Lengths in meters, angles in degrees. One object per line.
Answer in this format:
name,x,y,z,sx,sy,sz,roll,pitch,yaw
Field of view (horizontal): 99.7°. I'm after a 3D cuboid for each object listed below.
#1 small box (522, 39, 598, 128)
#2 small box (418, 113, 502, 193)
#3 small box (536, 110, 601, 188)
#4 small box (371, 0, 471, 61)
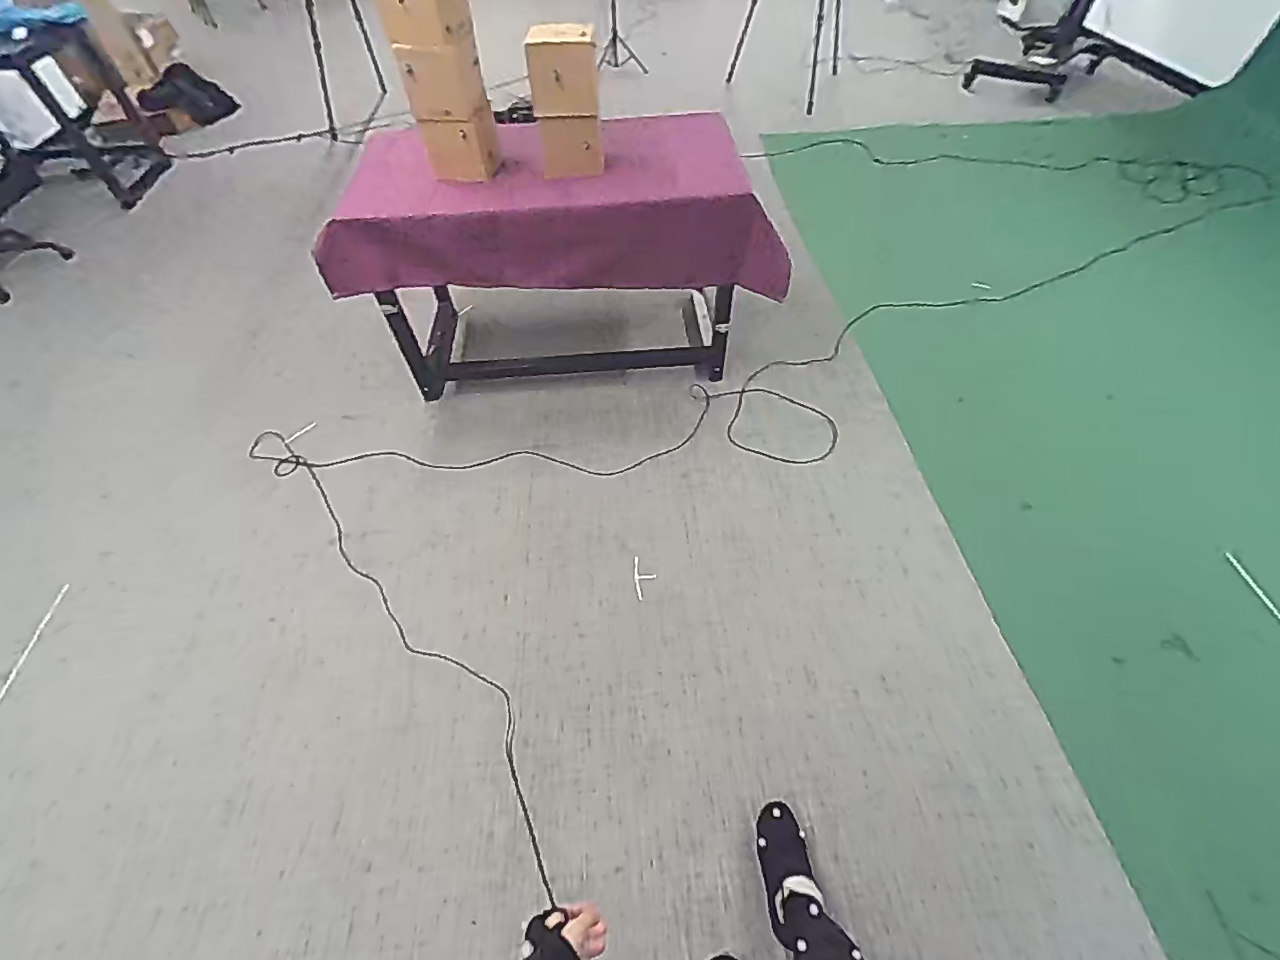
small box,-0.219,-1.114,1.524,0.179,0.176,0.168,-1,52,2
small box,-0.544,-1.004,1.661,0.179,0.176,0.168,5,52,5
small box,-0.211,-1.018,1.657,0.179,0.176,0.168,-3,51,0
small box,-0.568,-1.218,1.412,0.179,0.176,0.168,10,52,10
